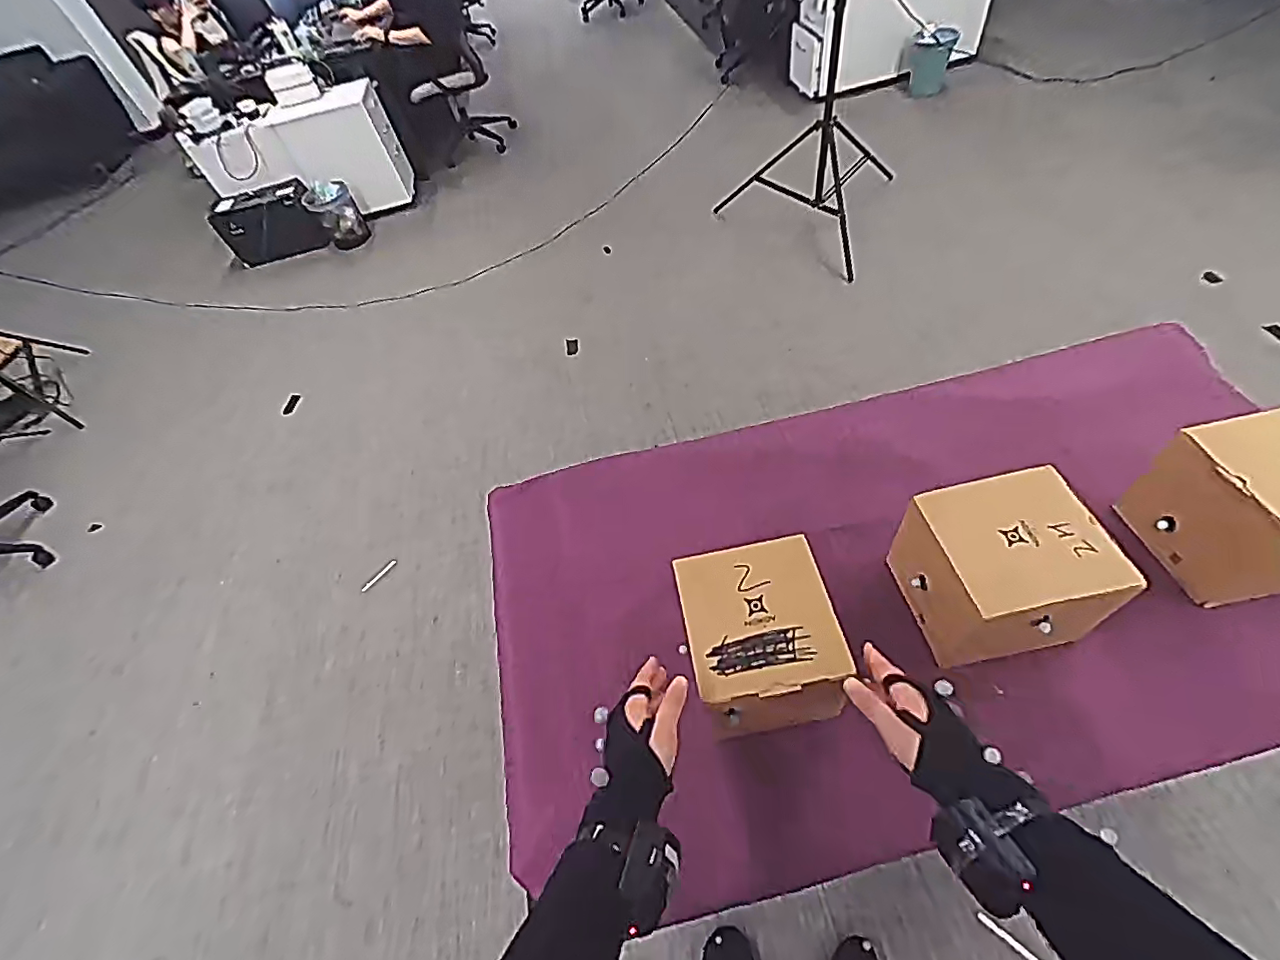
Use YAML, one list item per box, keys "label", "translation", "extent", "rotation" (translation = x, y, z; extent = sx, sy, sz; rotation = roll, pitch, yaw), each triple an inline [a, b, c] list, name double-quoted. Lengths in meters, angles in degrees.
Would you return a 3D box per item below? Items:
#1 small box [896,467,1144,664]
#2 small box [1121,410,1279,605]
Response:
- label: "small box"
  translation: [0.442, 0.113, 0.673]
  extent: [0.179, 0.176, 0.168]
  rotation: [-12, 52, 2]
- label: "small box"
  translation: [0.769, 0.034, 0.667]
  extent: [0.179, 0.176, 0.168]
  rotation: [-13, 51, 3]
